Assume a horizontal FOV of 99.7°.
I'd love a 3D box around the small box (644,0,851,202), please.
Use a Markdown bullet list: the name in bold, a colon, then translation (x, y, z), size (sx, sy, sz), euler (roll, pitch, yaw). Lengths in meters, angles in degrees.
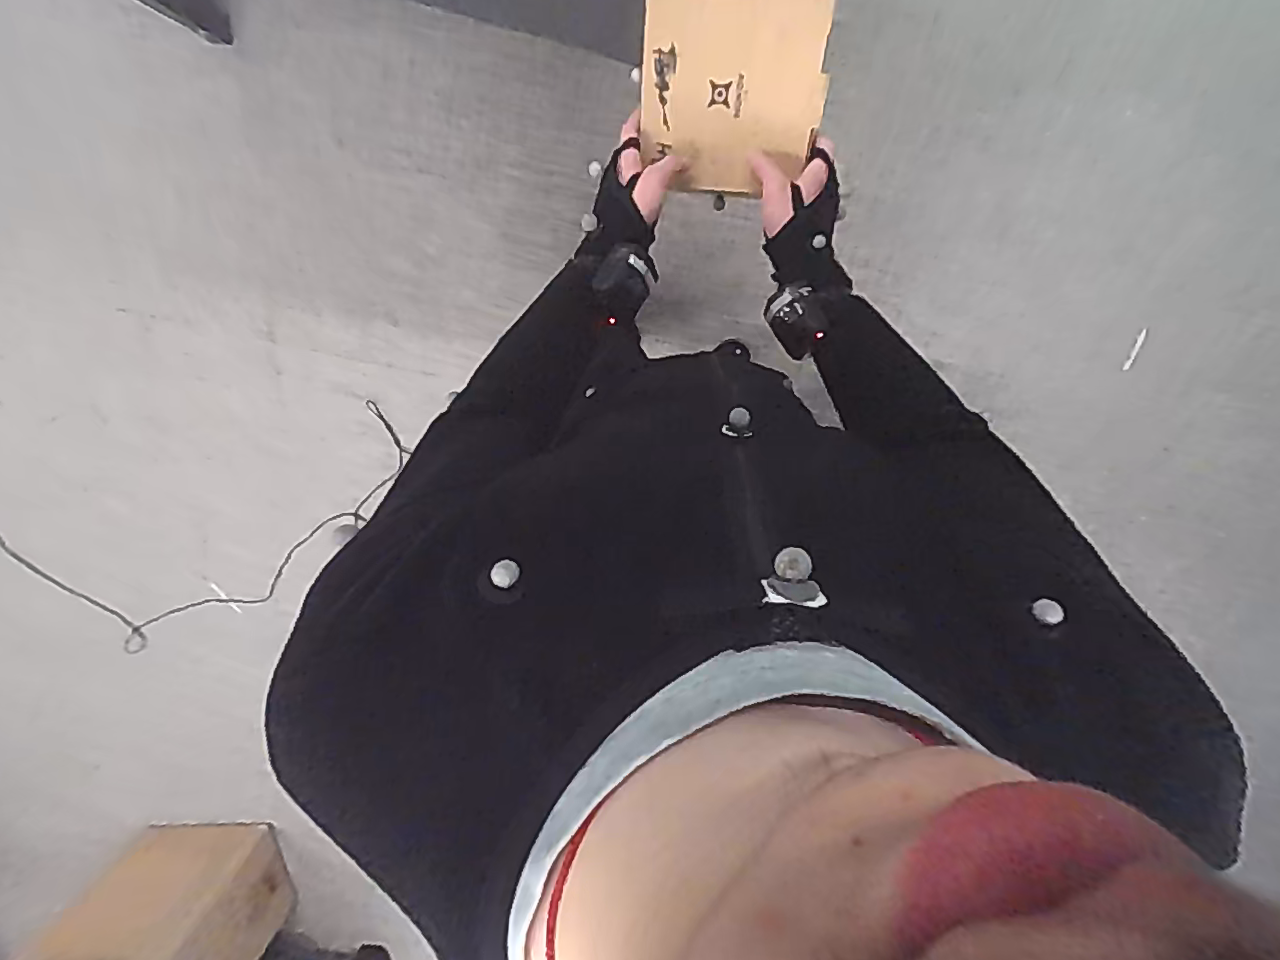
- **small box**: translation (0.102, -0.400, 0.584), size (0.179, 0.176, 0.168), euler (5, 115, 3)
